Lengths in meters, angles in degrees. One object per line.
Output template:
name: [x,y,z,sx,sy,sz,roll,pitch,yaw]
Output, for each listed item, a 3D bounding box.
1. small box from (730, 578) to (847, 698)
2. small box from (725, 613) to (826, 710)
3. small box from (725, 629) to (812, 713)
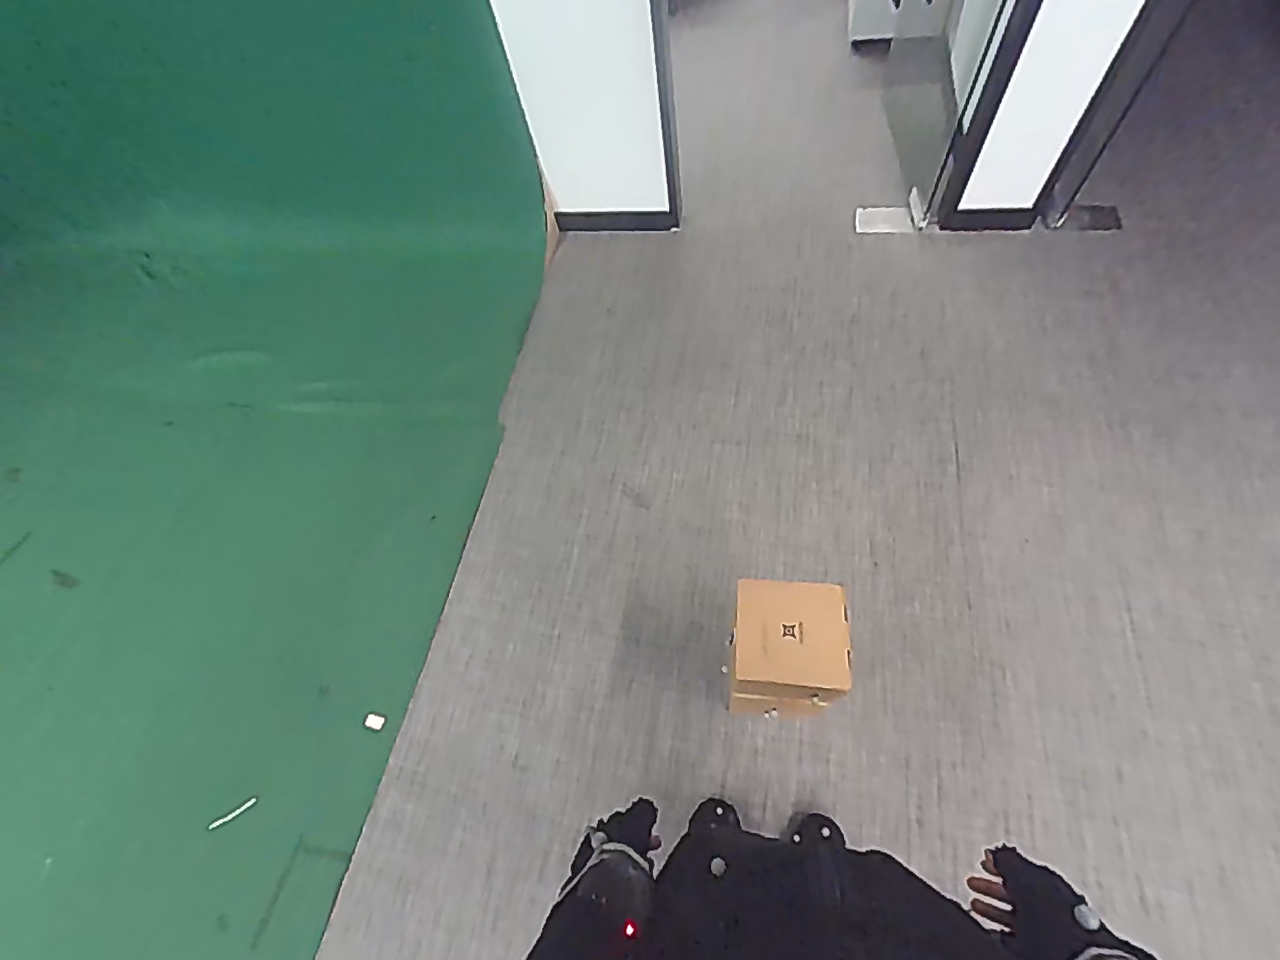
small box: [0.249,0.280,0.943,0.179,0.176,0.168,1,61,10]
small box: [0.265,0.360,1.083,0.179,0.176,0.168,2,62,9]
small box: [0.287,0.433,1.227,0.179,0.176,0.168,-2,62,7]
